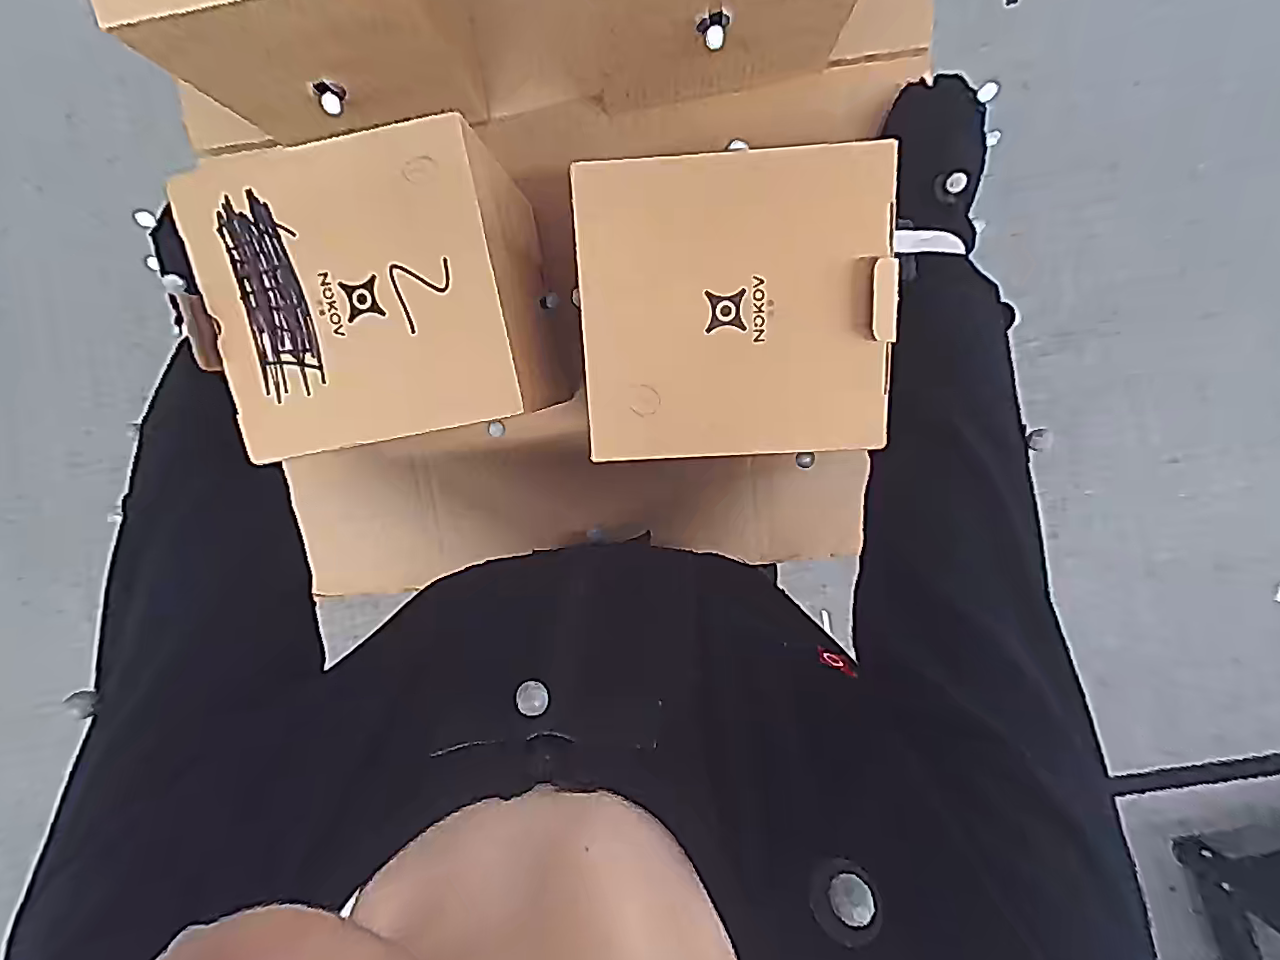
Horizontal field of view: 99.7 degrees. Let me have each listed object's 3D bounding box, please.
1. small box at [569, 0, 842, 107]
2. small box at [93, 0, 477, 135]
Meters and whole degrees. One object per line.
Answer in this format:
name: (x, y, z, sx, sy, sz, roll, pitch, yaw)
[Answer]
small box: (0.037, -0.372, 0.338, 0.179, 0.176, 0.168, -7, 100, 6)
small box: (-0.222, -0.356, 0.355, 0.168, 0.176, 0.179, -7, 100, 4)
